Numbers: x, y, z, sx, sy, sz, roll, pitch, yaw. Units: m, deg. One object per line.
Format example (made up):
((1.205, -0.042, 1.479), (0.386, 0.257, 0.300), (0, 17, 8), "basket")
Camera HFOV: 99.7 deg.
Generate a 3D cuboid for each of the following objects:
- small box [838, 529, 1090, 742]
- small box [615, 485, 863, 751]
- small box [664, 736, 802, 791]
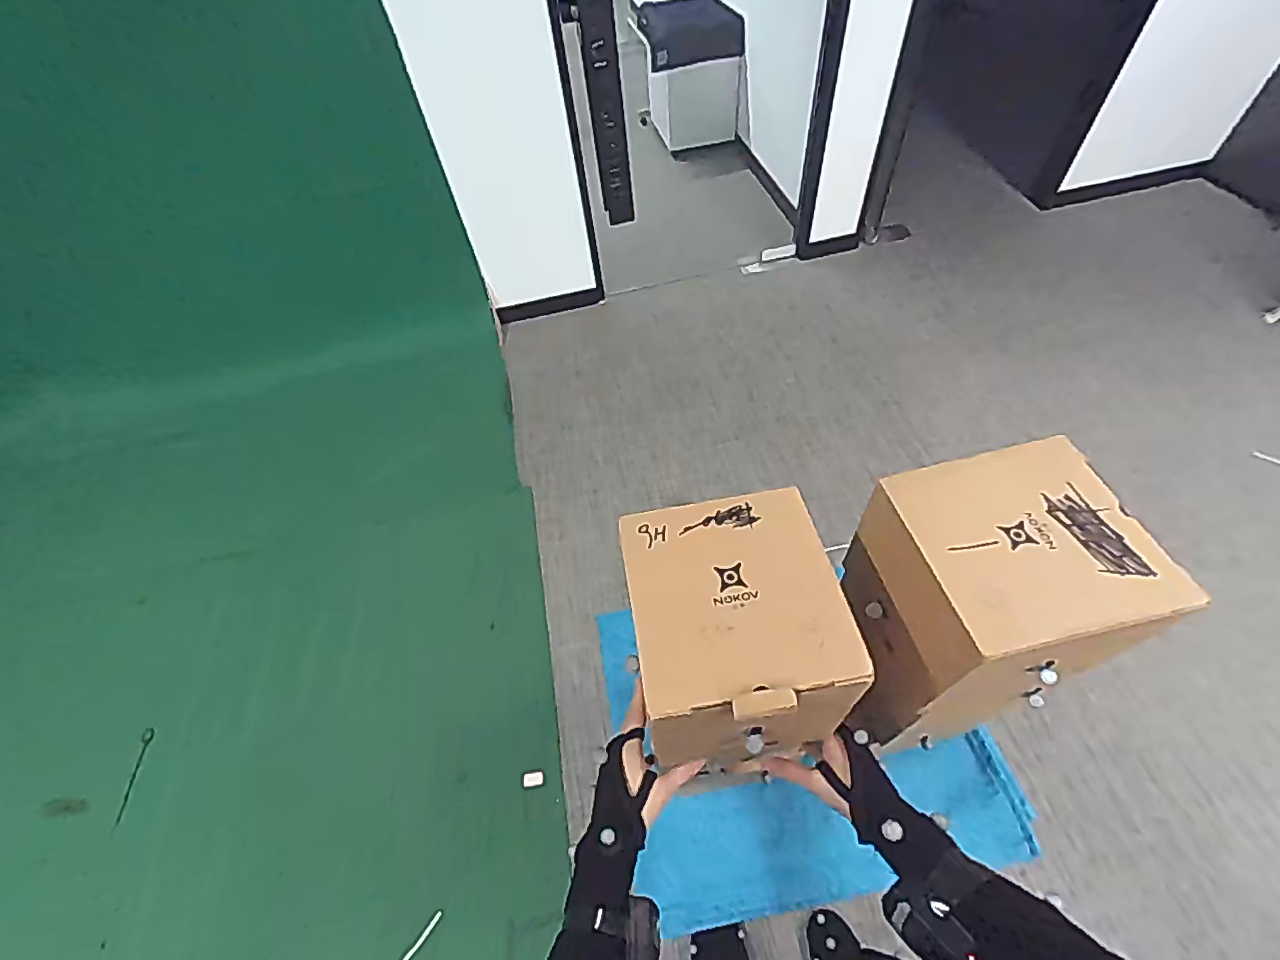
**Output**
((0.339, 0.183, 0.621), (0.179, 0.176, 0.168), (-13, 53, -2), "small box")
((0.074, 0.131, 0.487), (0.168, 0.176, 0.179), (-8, 52, -1), "small box")
((0.110, 0.320, 0.753), (0.168, 0.176, 0.179), (-9, 52, -2), "small box")
